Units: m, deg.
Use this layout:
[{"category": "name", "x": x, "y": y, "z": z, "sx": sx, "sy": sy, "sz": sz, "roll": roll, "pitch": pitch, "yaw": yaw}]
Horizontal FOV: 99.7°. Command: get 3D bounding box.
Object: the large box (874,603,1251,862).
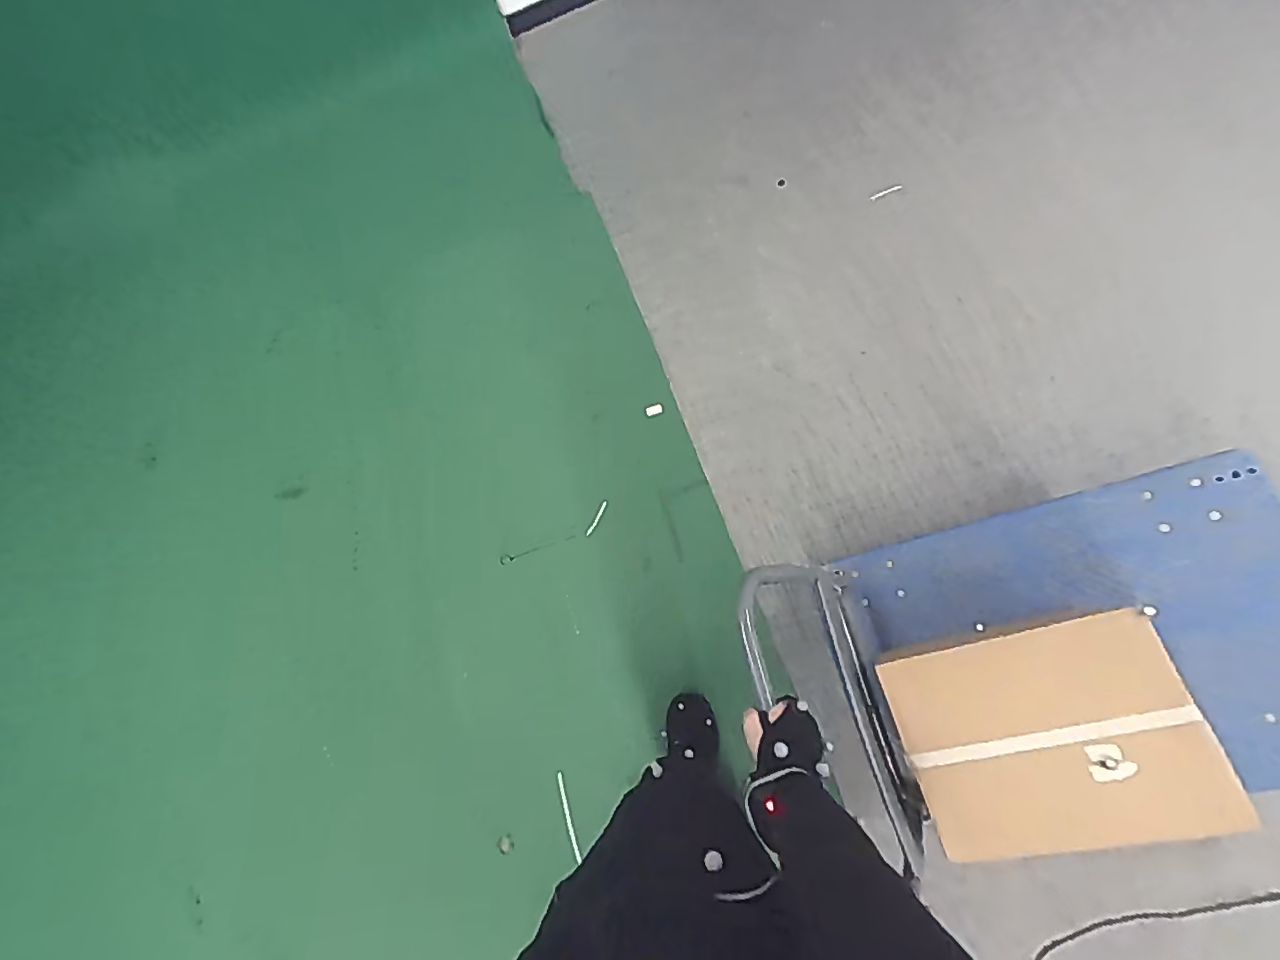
[{"category": "large box", "x": 0.685, "y": 0.433, "z": 0.979, "sx": 0.408, "sy": 0.320, "sz": 0.320, "roll": -21, "pitch": 70, "yaw": 19}]
